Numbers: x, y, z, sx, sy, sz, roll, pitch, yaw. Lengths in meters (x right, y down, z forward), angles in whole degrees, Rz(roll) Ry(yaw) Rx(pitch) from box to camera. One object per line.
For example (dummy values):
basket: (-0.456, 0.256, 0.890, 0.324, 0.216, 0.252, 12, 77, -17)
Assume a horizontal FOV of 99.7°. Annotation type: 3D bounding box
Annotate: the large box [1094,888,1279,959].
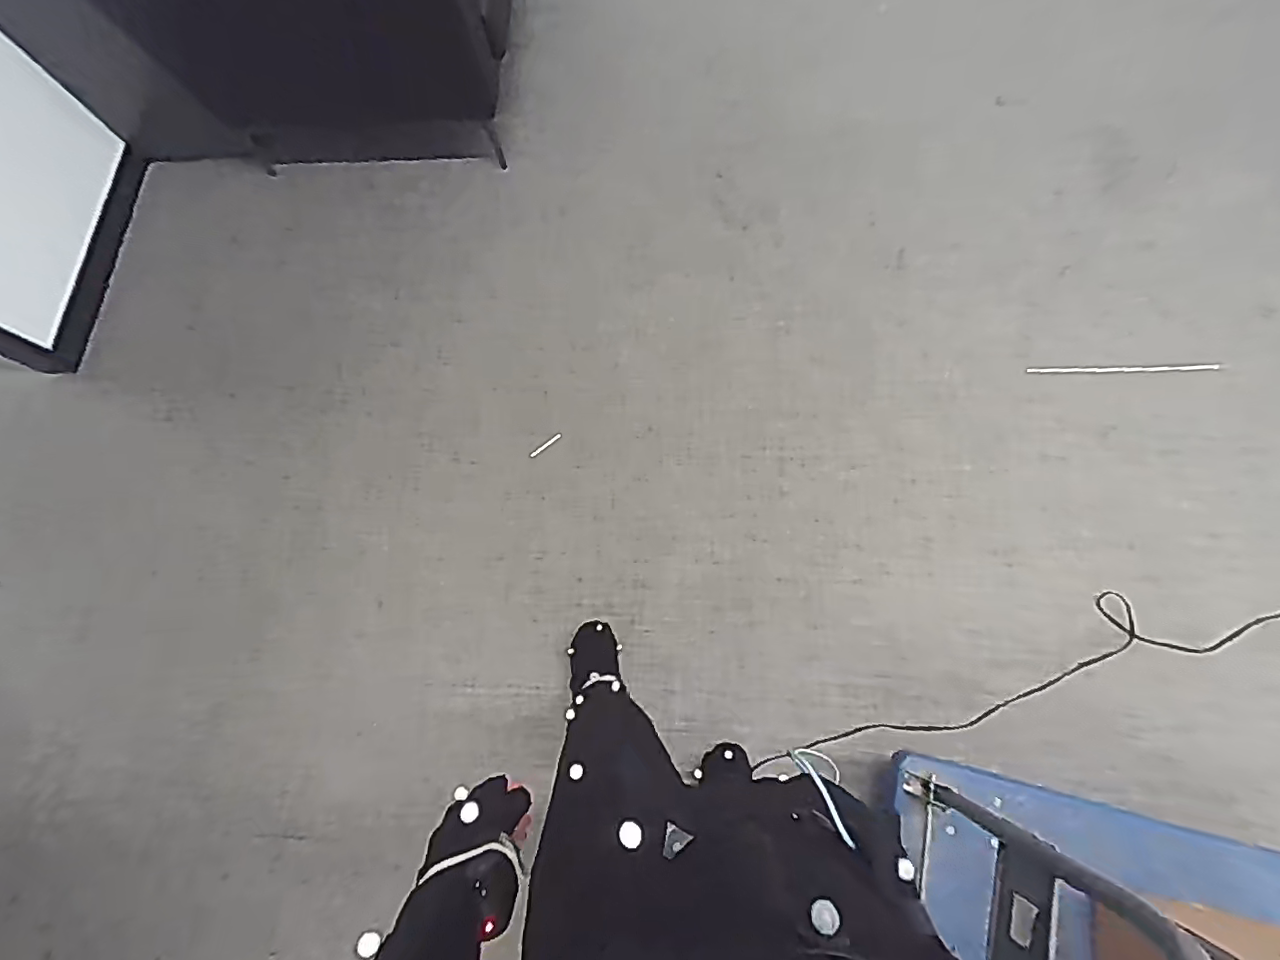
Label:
large box: (0.925, 0.898, 0.763, 0.320, 0.320, 0.408, 9, 72, 6)
